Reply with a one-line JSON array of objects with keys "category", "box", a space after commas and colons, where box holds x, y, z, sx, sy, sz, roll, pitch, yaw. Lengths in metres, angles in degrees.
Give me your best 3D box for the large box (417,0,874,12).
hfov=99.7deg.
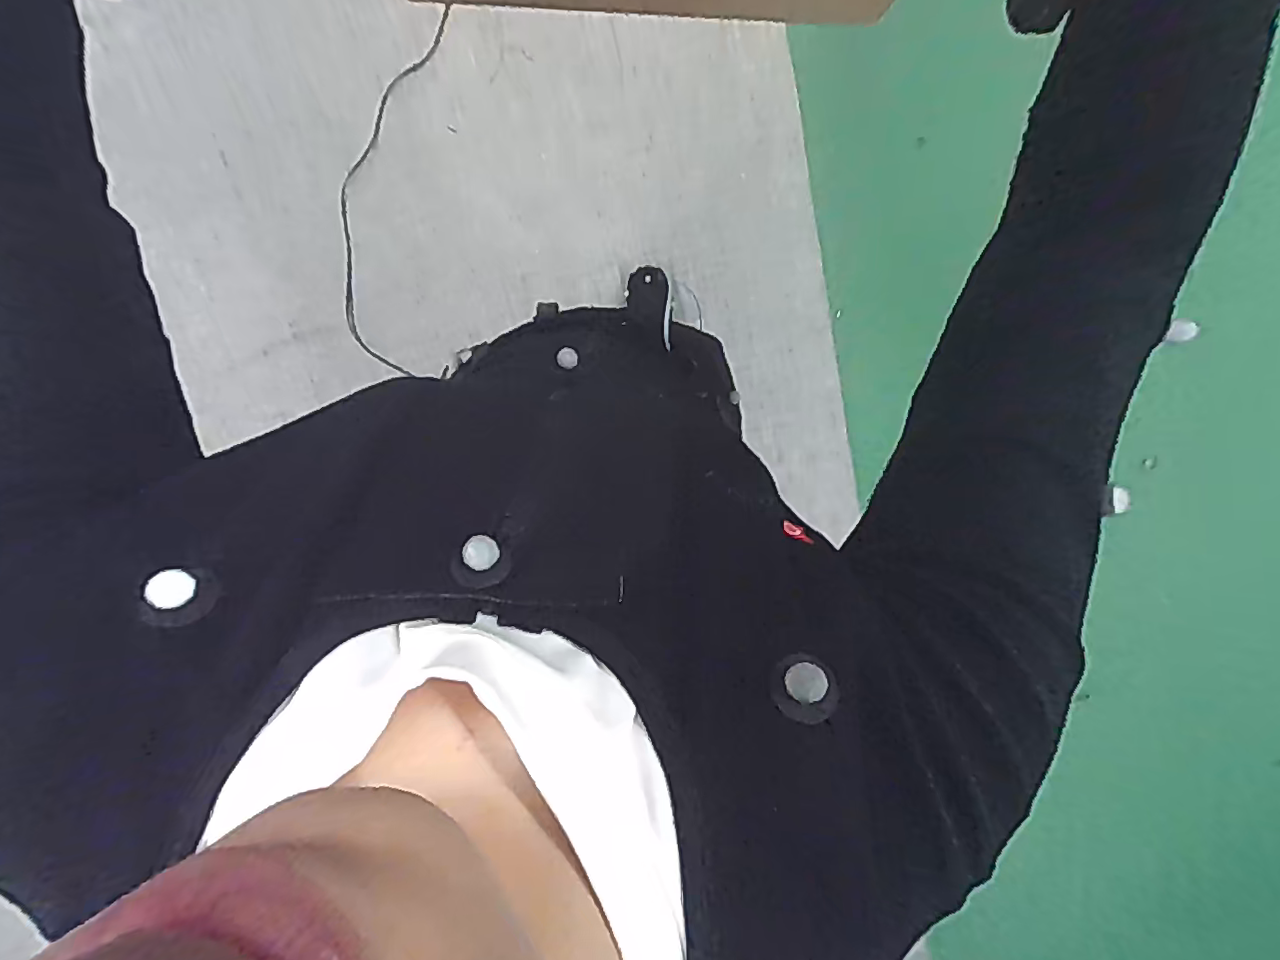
[{"category": "large box", "box": [0.001, -0.503, 0.276, 0.408, 0.320, 0.320, 2, 109, 0]}]
